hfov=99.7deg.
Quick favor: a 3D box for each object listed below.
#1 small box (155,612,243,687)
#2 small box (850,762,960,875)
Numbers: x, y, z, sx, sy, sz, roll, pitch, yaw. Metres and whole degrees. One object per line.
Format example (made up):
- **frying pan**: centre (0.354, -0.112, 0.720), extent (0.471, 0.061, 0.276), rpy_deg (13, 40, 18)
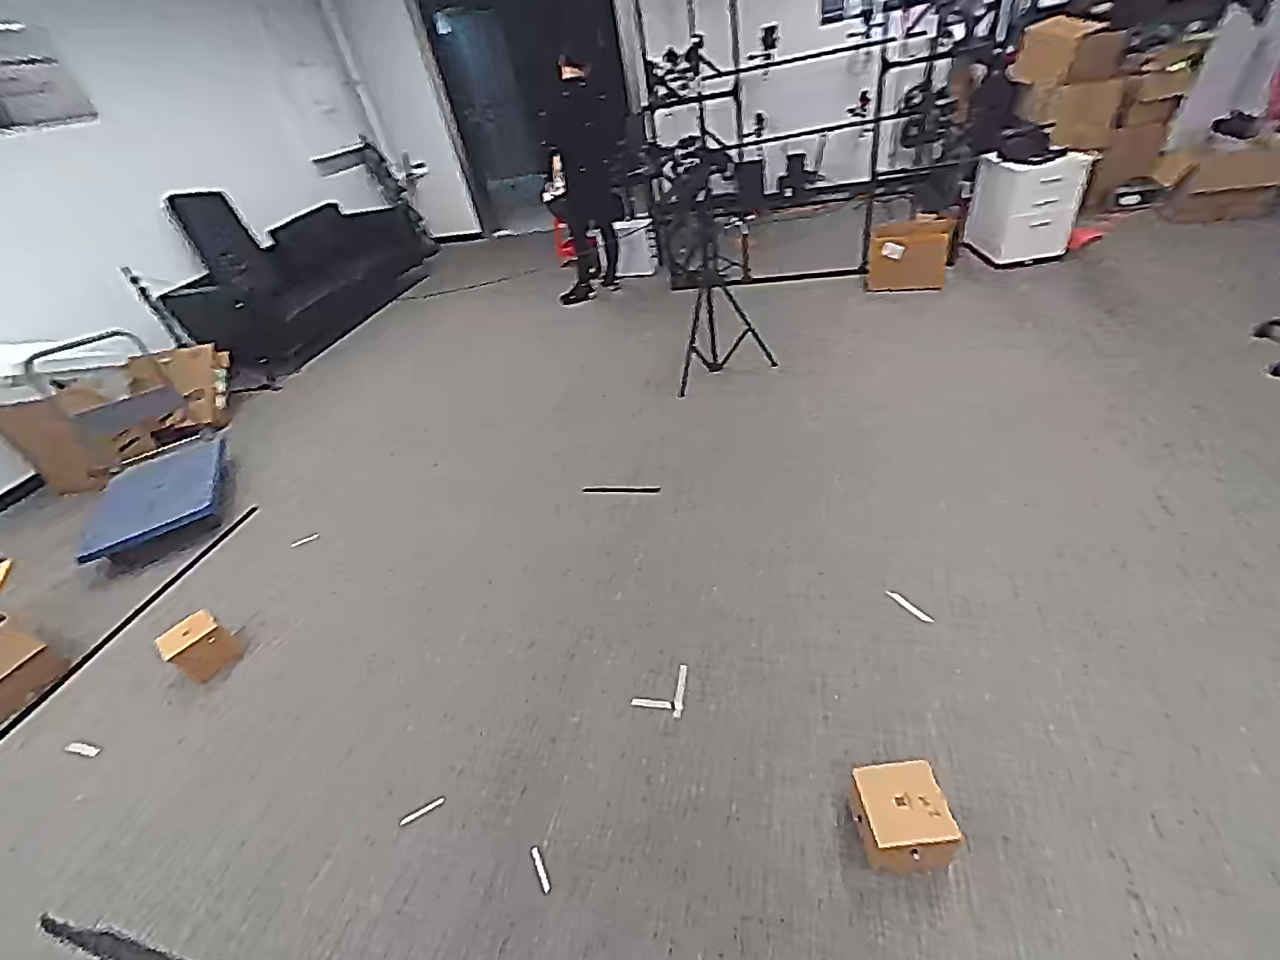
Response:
- **small box**: centre (-1.654, 0.640, 2.034), extent (0.168, 0.176, 0.179), rpy_deg (20, 47, 35)
- **small box**: centre (0.592, 0.776, 1.235), extent (0.179, 0.176, 0.168), rpy_deg (-9, 37, 4)
